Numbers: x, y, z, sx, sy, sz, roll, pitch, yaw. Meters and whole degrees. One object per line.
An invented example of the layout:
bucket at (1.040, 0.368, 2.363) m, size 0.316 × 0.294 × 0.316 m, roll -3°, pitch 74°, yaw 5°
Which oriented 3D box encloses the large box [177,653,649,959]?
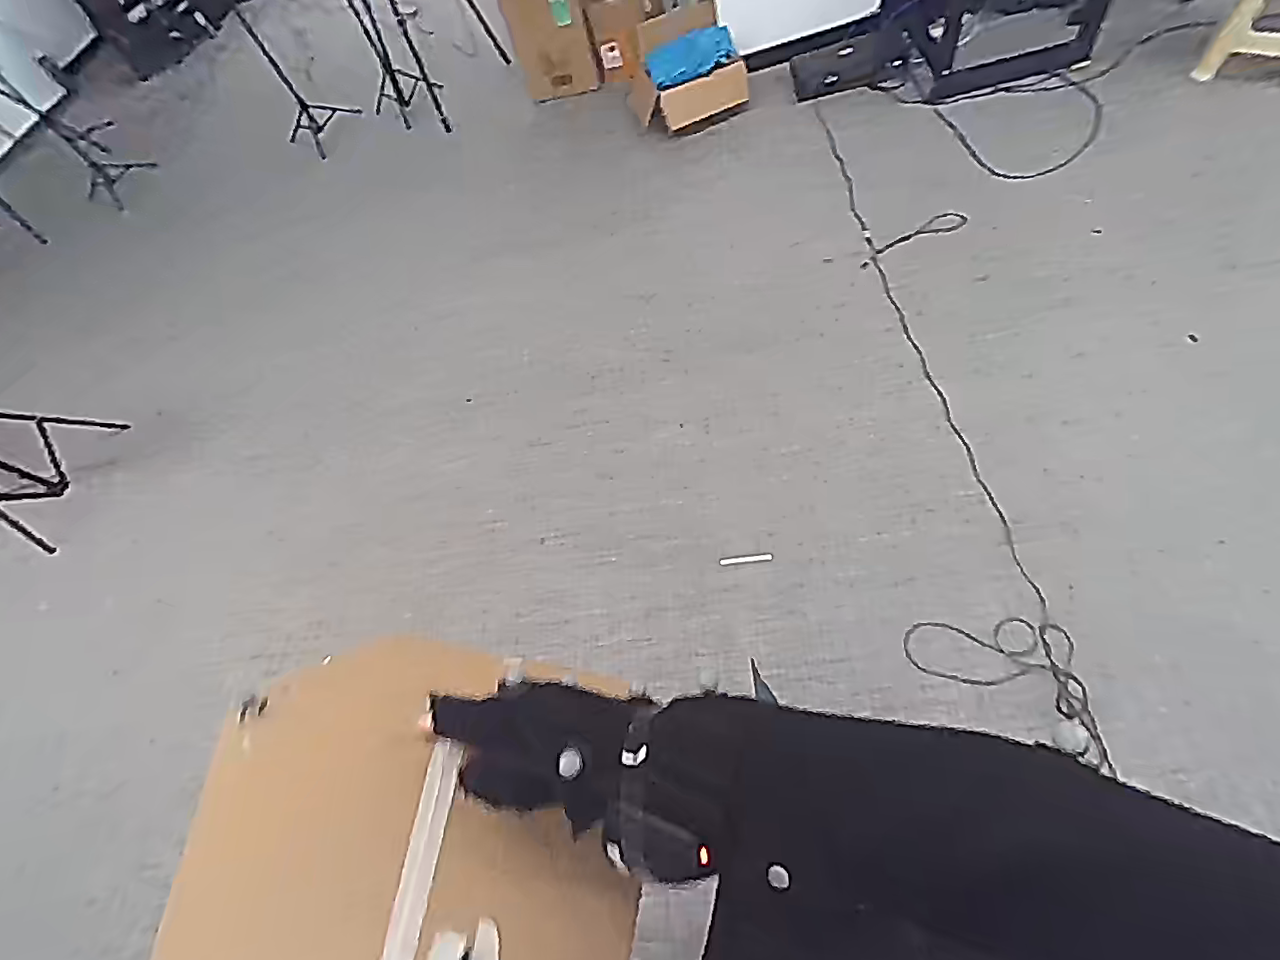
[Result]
large box at (-0.187, 0.413, 0.518) m, size 0.320 × 0.320 × 0.408 m, roll 11°, pitch 80°, yaw -5°
